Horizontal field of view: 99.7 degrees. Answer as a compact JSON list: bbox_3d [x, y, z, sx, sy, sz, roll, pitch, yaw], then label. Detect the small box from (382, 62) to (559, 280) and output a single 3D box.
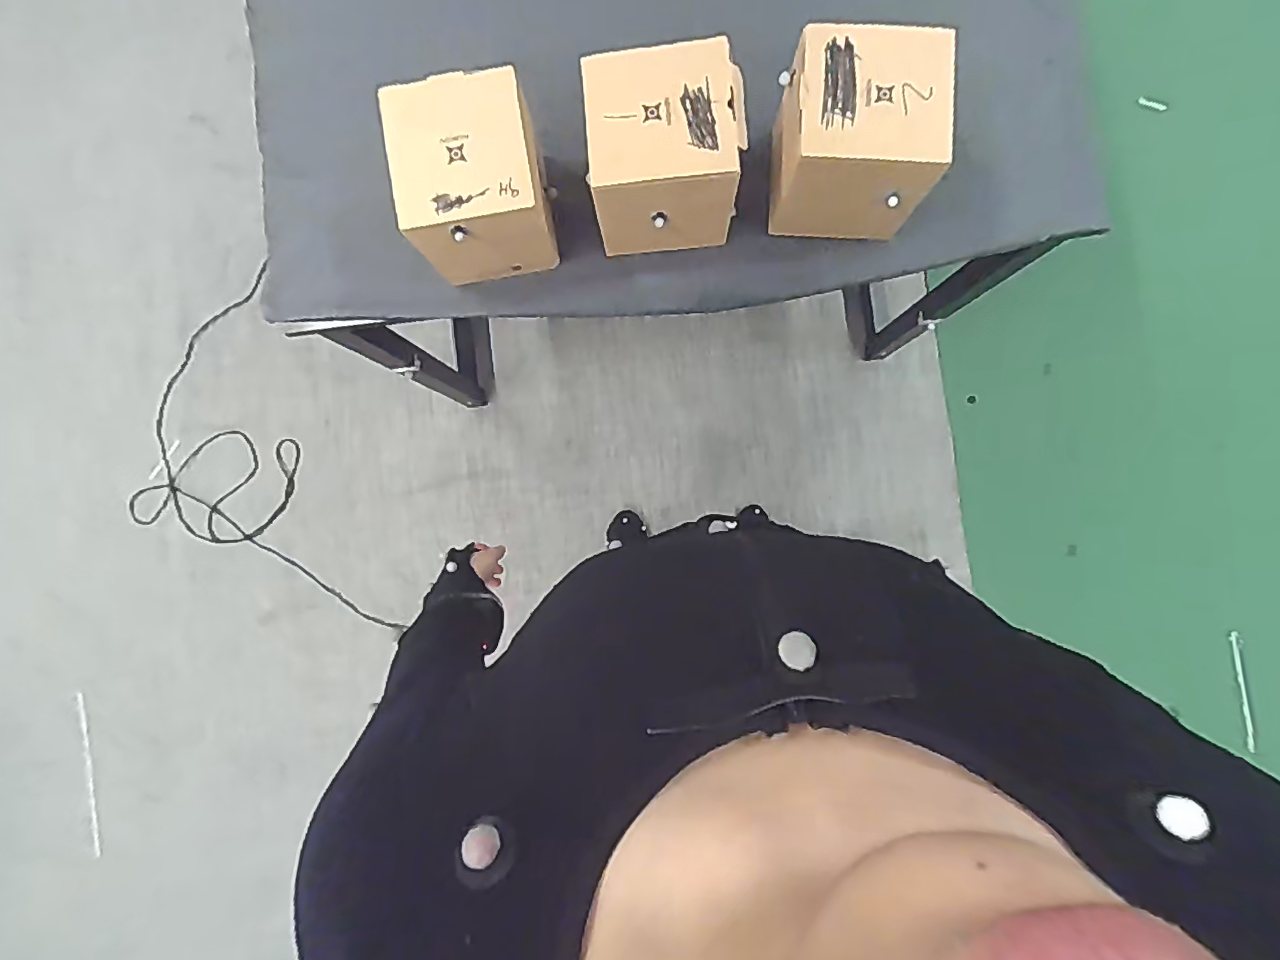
[{"bbox_3d":[-0.211,-0.390,0.710,0.168,0.176,0.179,-8,87,3],"label":"small box"}]
